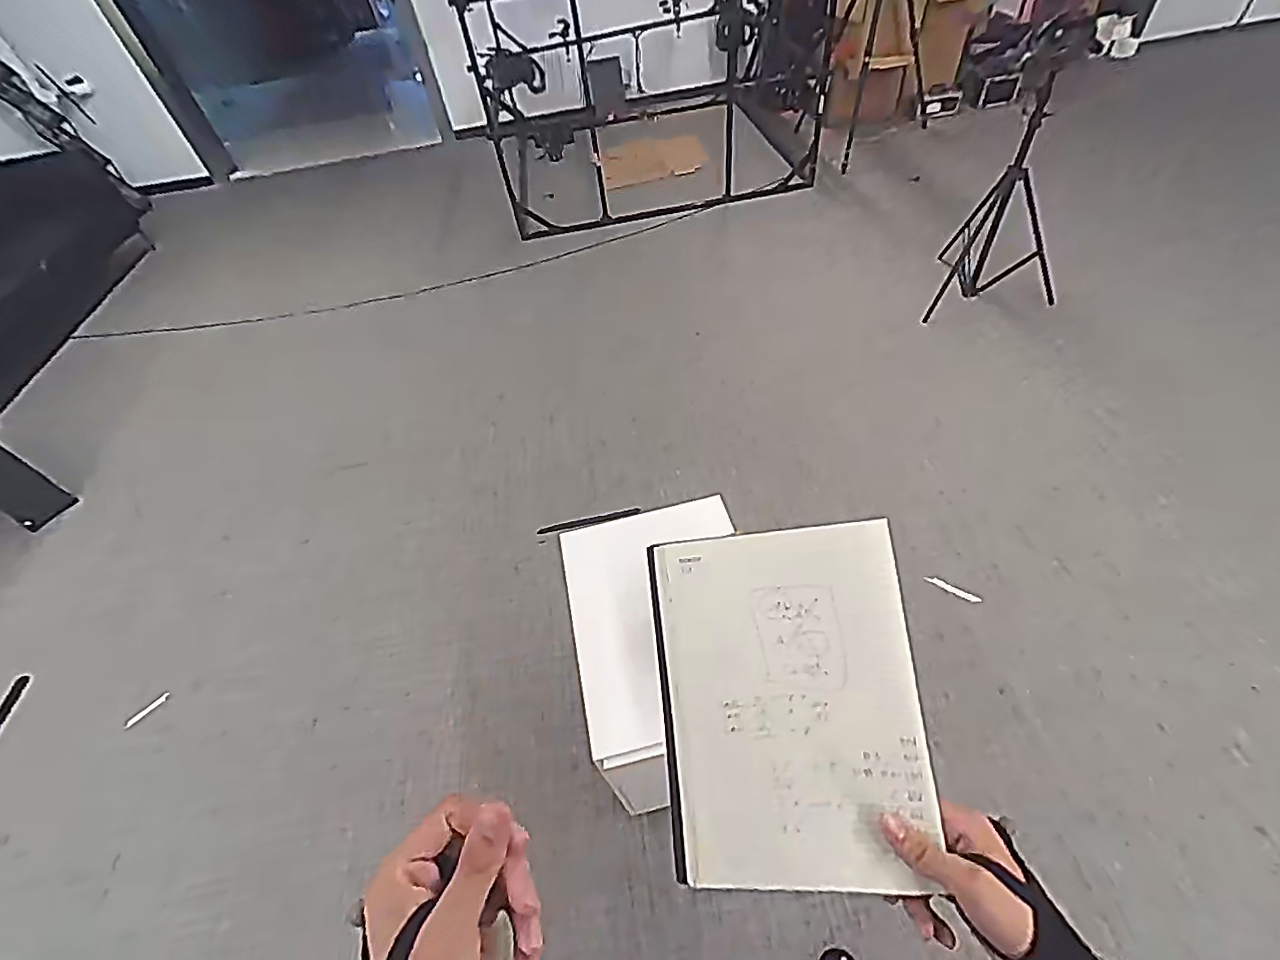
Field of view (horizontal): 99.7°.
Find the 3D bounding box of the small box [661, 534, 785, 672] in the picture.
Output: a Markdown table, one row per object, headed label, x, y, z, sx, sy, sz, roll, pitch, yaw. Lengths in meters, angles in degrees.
| label | x | y | z | sx | sy | sz | roll | pitch | yaw |
| --- | --- | --- | --- | --- | --- | --- | --- | --- | --- |
| small box | 0.154 | 0.237 | 1.036 | 0.179 | 0.176 | 0.168 | -21 | 49 | -8 |
